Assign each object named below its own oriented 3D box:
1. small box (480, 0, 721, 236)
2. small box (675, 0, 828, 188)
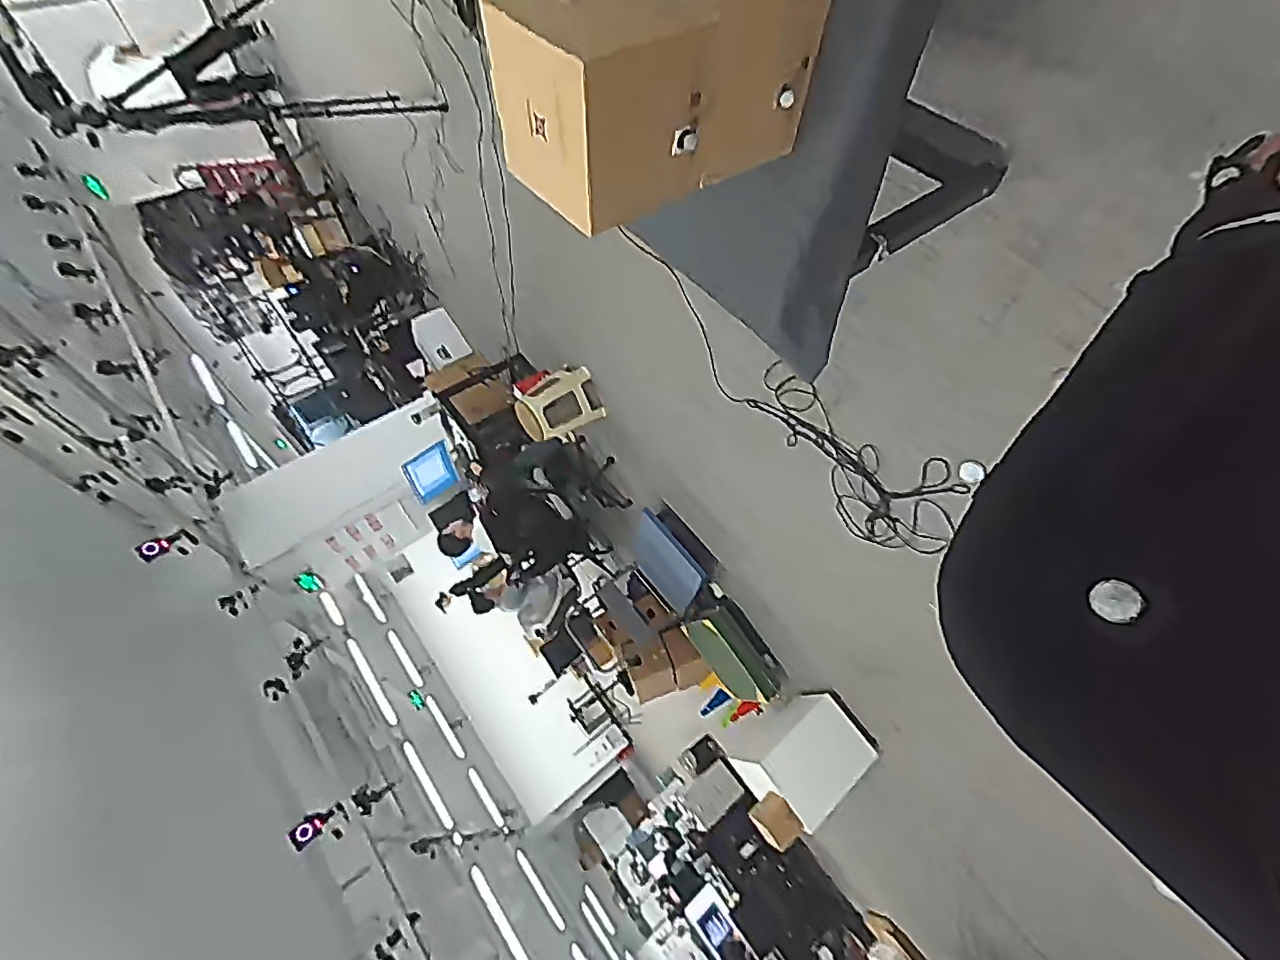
[{"bbox_3d":[-0.041,-0.405,0.584,0.179,0.176,0.168,45,157,24],"label":"small box"},{"bbox_3d":[0.084,-0.489,0.644,0.179,0.176,0.168,45,156,24],"label":"small box"}]
